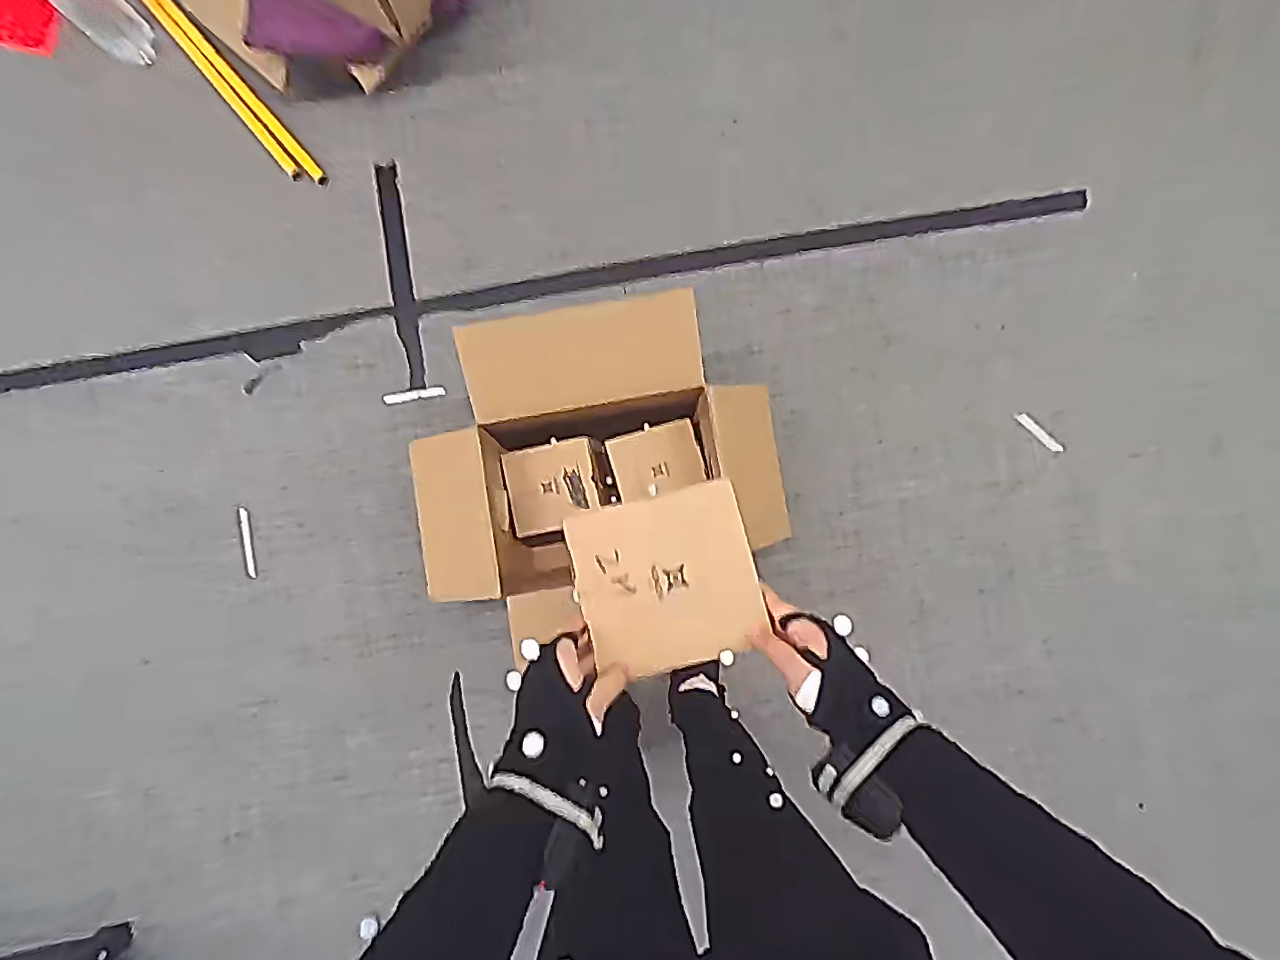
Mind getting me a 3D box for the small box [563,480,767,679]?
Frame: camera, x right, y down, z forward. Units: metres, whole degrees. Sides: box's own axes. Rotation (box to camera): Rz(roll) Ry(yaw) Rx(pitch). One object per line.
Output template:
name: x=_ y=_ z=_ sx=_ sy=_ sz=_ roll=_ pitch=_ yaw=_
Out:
small box: x=0.021 y=0.104 z=0.612 sx=0.179 sy=0.176 sz=0.168 roll=-14 pitch=83 yaw=-3
